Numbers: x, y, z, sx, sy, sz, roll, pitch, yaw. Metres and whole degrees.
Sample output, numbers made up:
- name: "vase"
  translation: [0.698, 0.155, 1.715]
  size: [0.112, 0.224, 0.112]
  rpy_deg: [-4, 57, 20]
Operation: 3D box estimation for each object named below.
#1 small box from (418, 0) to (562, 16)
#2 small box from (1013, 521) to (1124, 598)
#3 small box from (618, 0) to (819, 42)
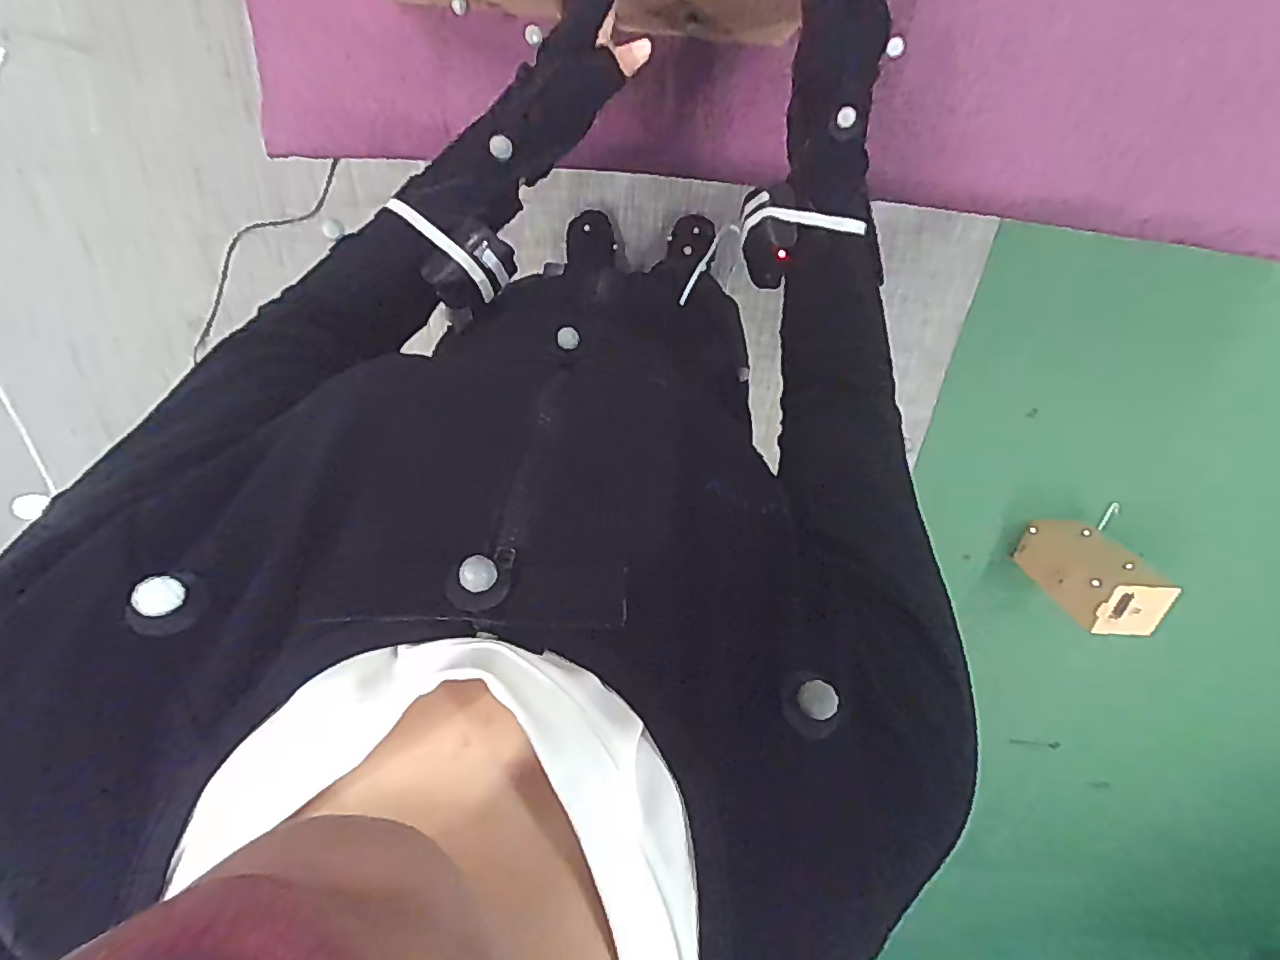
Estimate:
- name: "small box"
  translation: [-0.147, -0.495, 0.411]
  size: [0.168, 0.176, 0.179]
  rpy_deg: [4, 118, -3]
- name: "small box"
  translation: [1.288, 0.236, 1.643]
  size: [0.179, 0.176, 0.168]
  rpy_deg: [4, 118, -4]
- name: "small box"
  translation: [0.065, -0.481, 0.425]
  size: [0.168, 0.176, 0.179]
  rpy_deg: [3, 118, -3]
